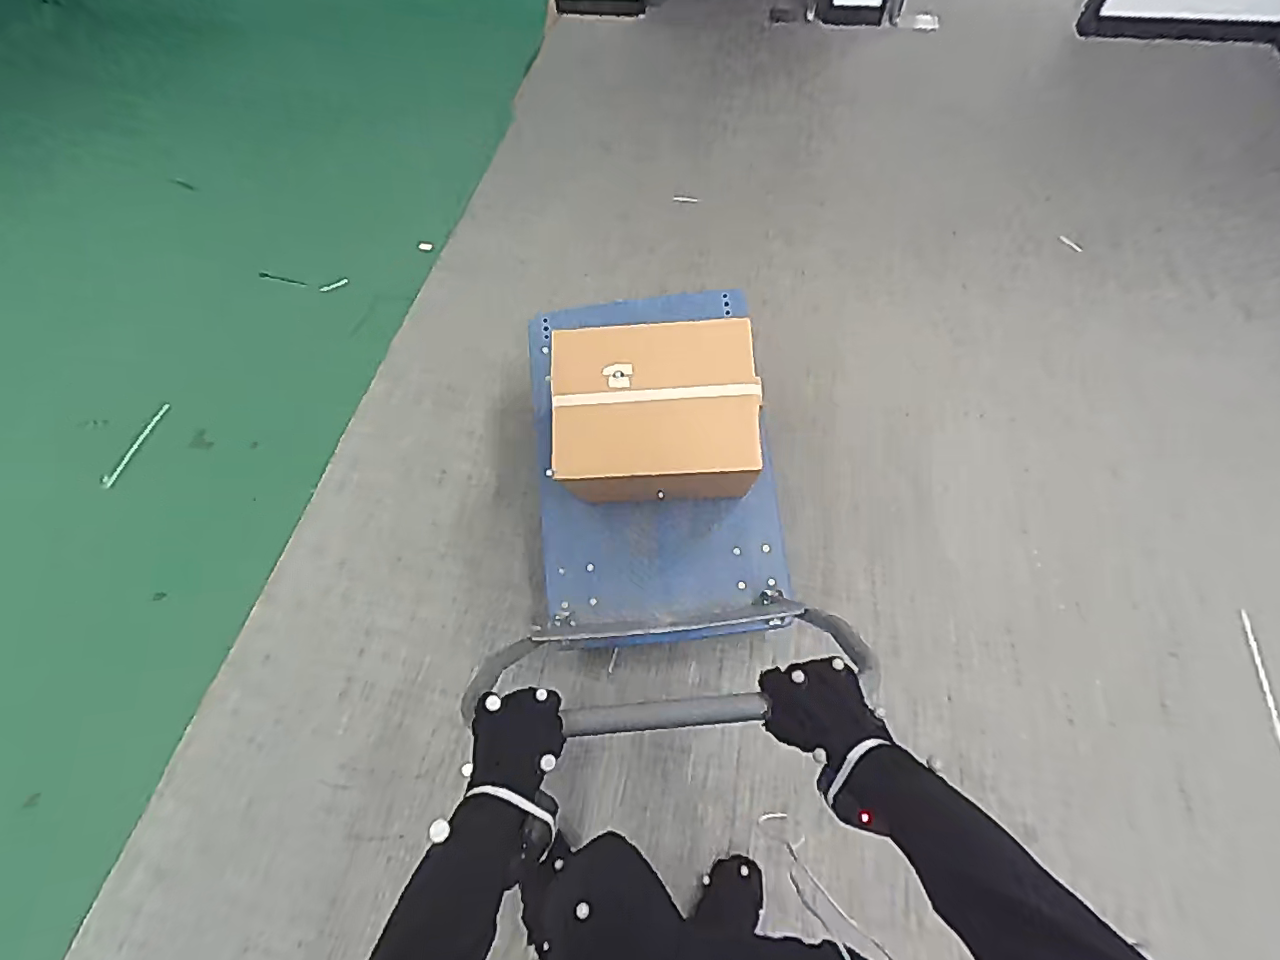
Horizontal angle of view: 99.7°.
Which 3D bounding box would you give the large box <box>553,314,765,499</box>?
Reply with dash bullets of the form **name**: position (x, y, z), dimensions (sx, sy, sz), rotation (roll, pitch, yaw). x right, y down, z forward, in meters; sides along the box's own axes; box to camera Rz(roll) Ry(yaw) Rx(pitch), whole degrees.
- **large box**: position (0.046, -0.138, 1.201), dimensions (0.408, 0.320, 0.320), rotation (-4, 79, 6)
